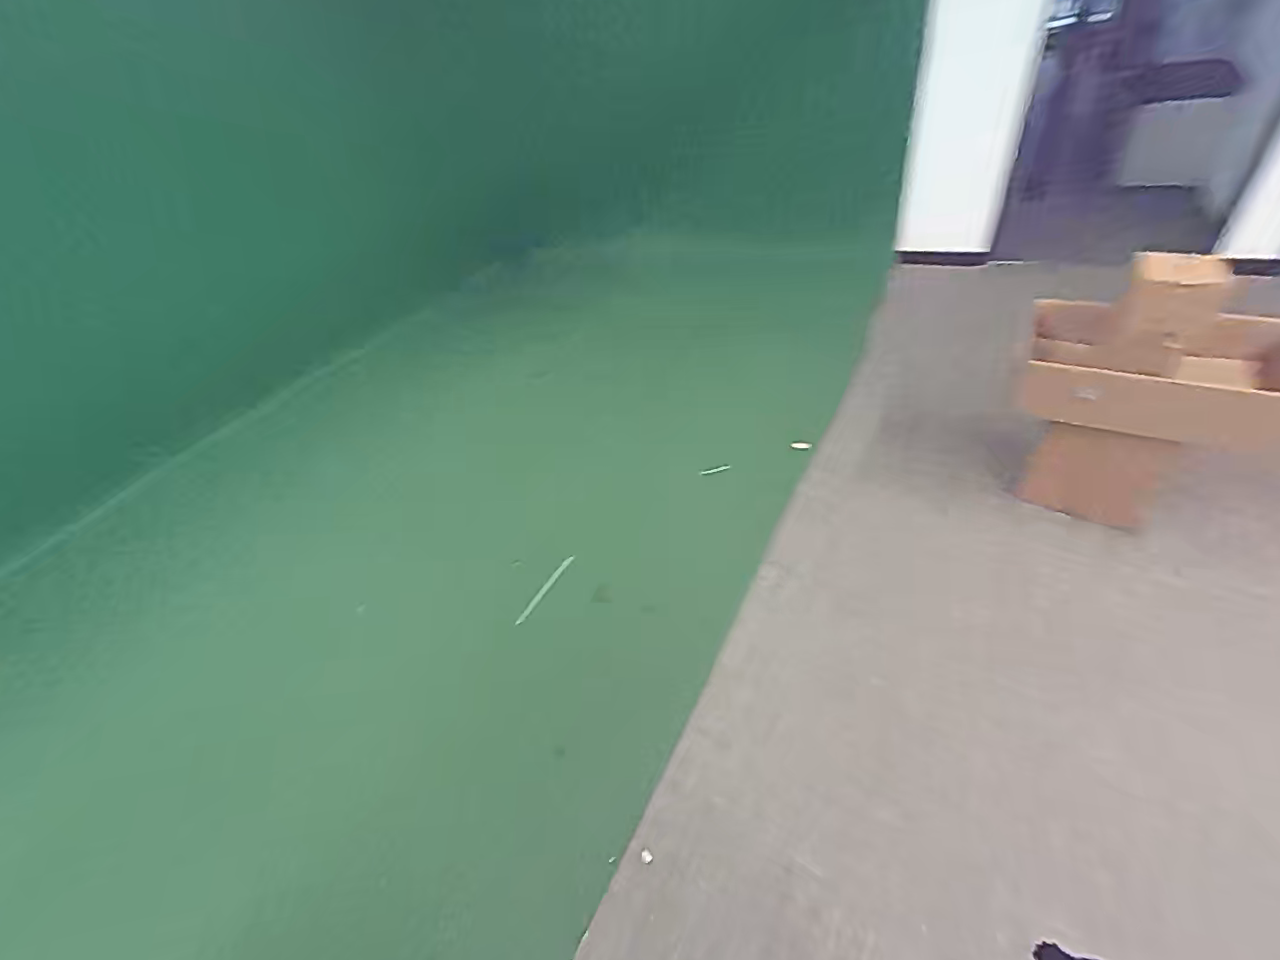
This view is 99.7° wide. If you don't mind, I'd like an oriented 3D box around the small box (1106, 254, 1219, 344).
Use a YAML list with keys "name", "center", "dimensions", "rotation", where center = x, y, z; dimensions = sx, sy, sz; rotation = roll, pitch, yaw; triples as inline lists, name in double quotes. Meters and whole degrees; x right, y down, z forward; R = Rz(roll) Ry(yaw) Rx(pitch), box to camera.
- name: "small box"
  center: [1.393, -0.485, 1.454]
  dimensions: [0.168, 0.176, 0.179]
  rotation: [17, 50, 25]

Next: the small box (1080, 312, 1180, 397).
- name: "small box"
  center: [1.407, -0.362, 1.562]
  dimensions: [0.168, 0.176, 0.179]
  rotation: [19, 48, 26]
